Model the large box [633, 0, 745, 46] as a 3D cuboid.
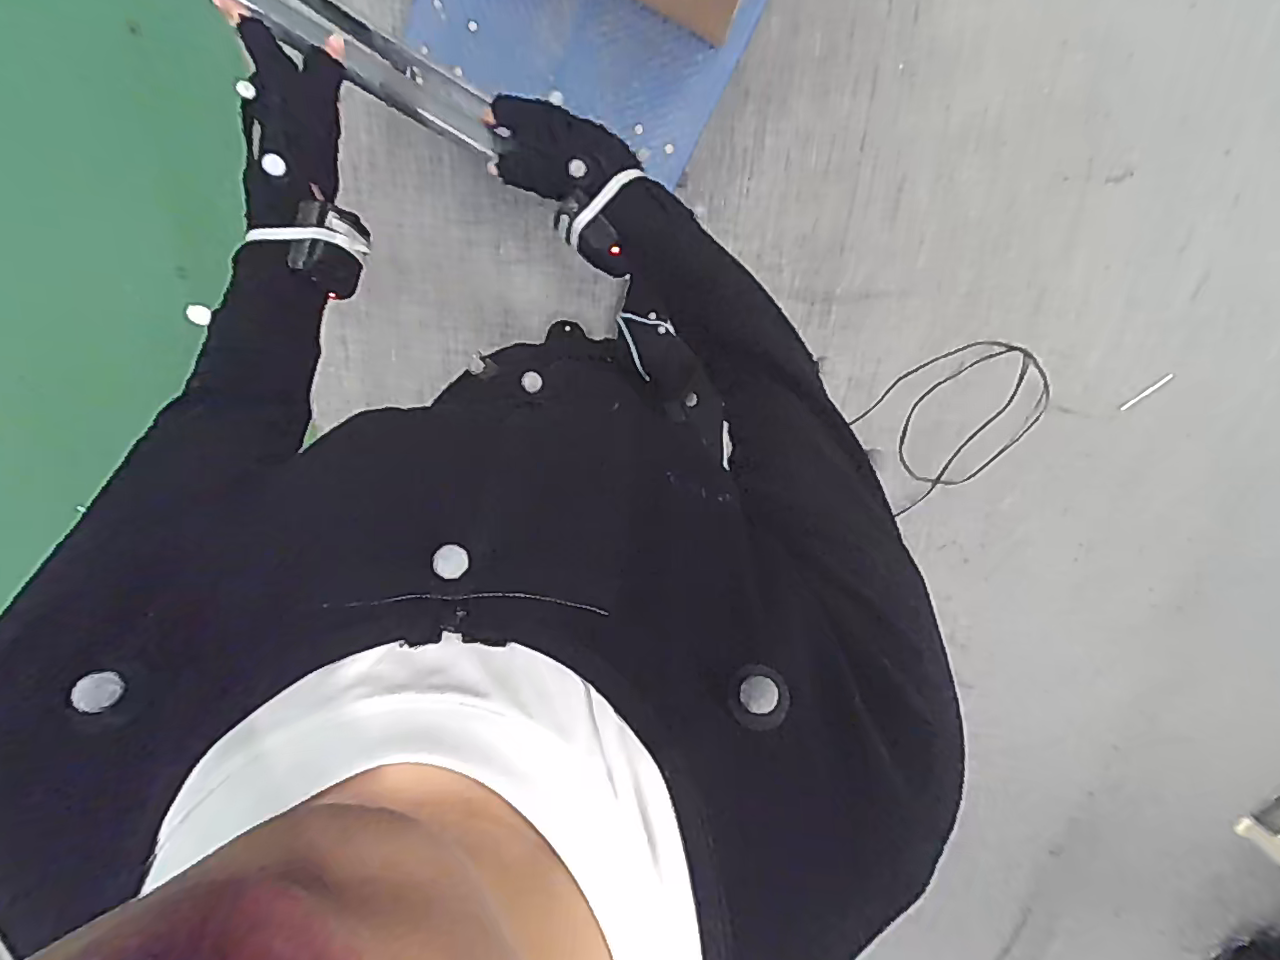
[{"bbox_3d":[0.037,-0.973,0.822,0.408,0.320,0.320,24,109,-7],"label":"large box"}]
